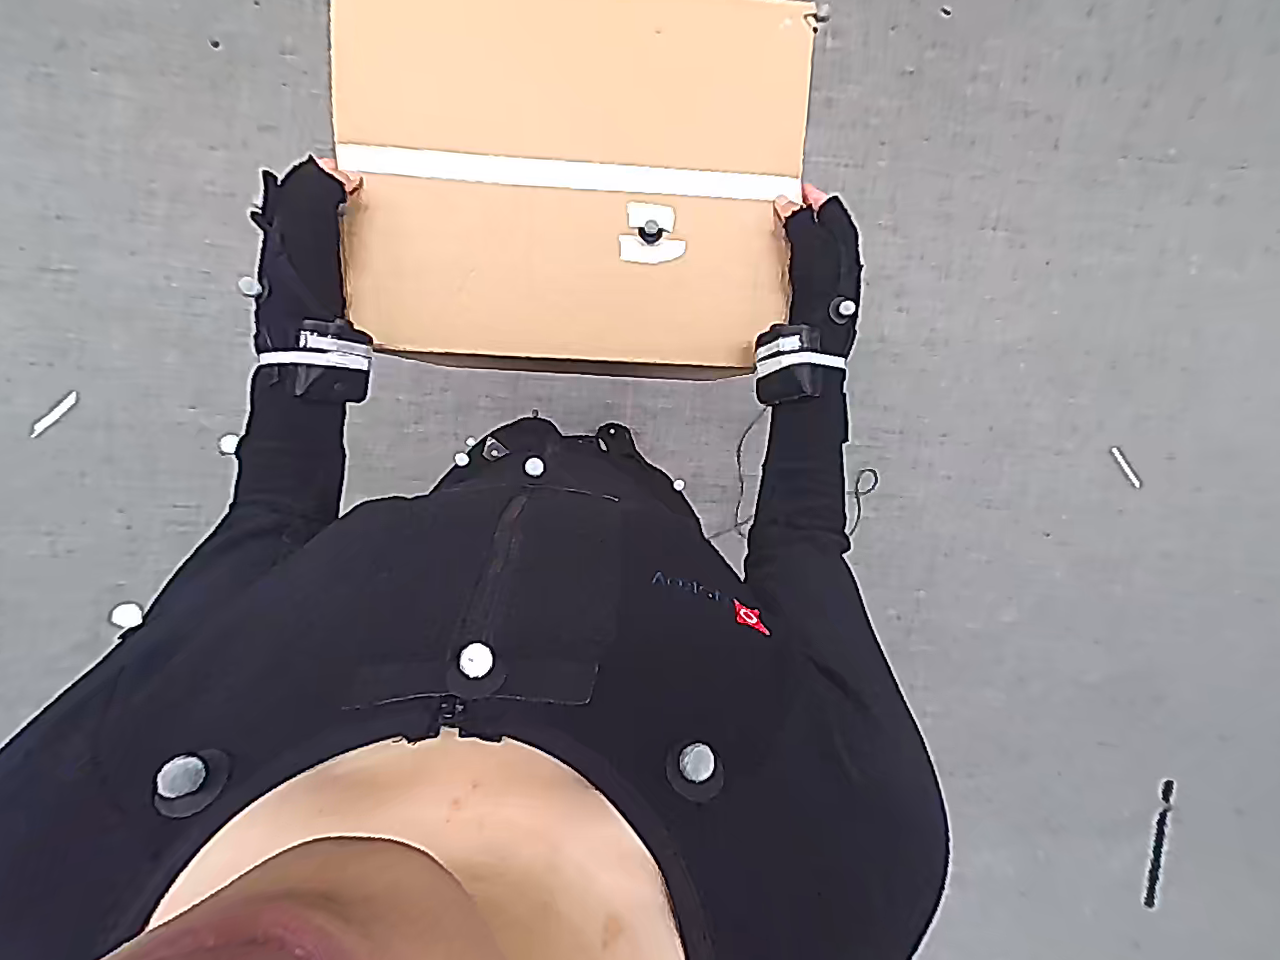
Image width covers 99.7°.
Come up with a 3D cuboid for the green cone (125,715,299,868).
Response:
[{"bbox_3d":[-1.063,0.780,1.313,0.202,0.368,0.200,-34,94,2],"label":"green cone"}]

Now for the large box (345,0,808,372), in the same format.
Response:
[{"bbox_3d":[-0.066,-0.294,0.629,0.408,0.320,0.320,2,99,-6],"label":"large box"}]
